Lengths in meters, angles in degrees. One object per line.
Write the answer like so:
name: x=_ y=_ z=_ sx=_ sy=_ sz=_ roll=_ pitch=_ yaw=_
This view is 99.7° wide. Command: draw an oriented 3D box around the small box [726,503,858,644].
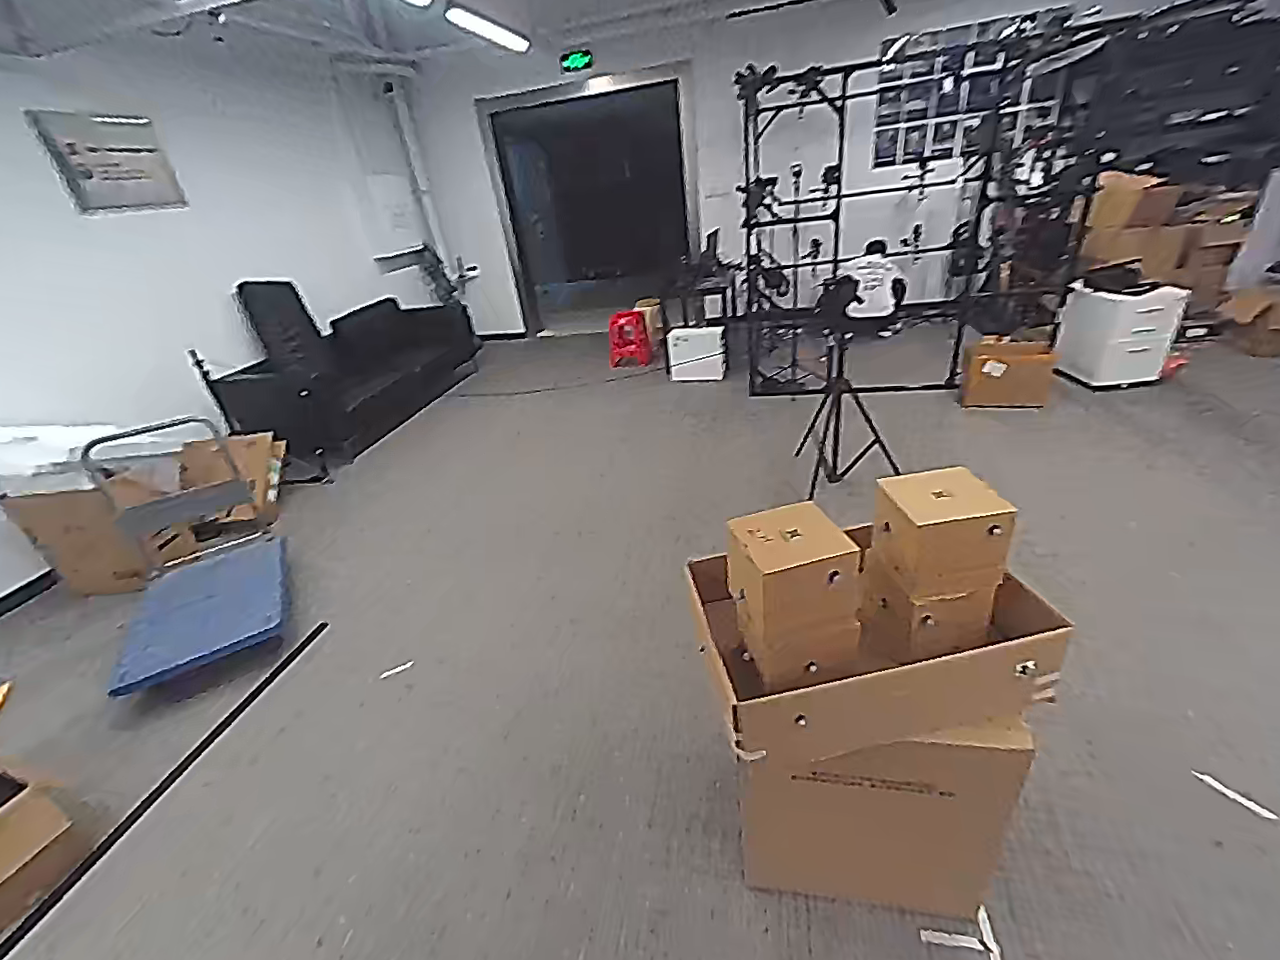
small box: x=0.268 y=0.168 z=0.985 sx=0.179 sy=0.176 sz=0.168 roll=-13 pitch=30 yaw=-8

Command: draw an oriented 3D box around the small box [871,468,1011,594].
small box: x=0.560 y=0.098 z=1.033 sx=0.179 sy=0.176 sz=0.168 roll=-9 pitch=29 yaw=0
